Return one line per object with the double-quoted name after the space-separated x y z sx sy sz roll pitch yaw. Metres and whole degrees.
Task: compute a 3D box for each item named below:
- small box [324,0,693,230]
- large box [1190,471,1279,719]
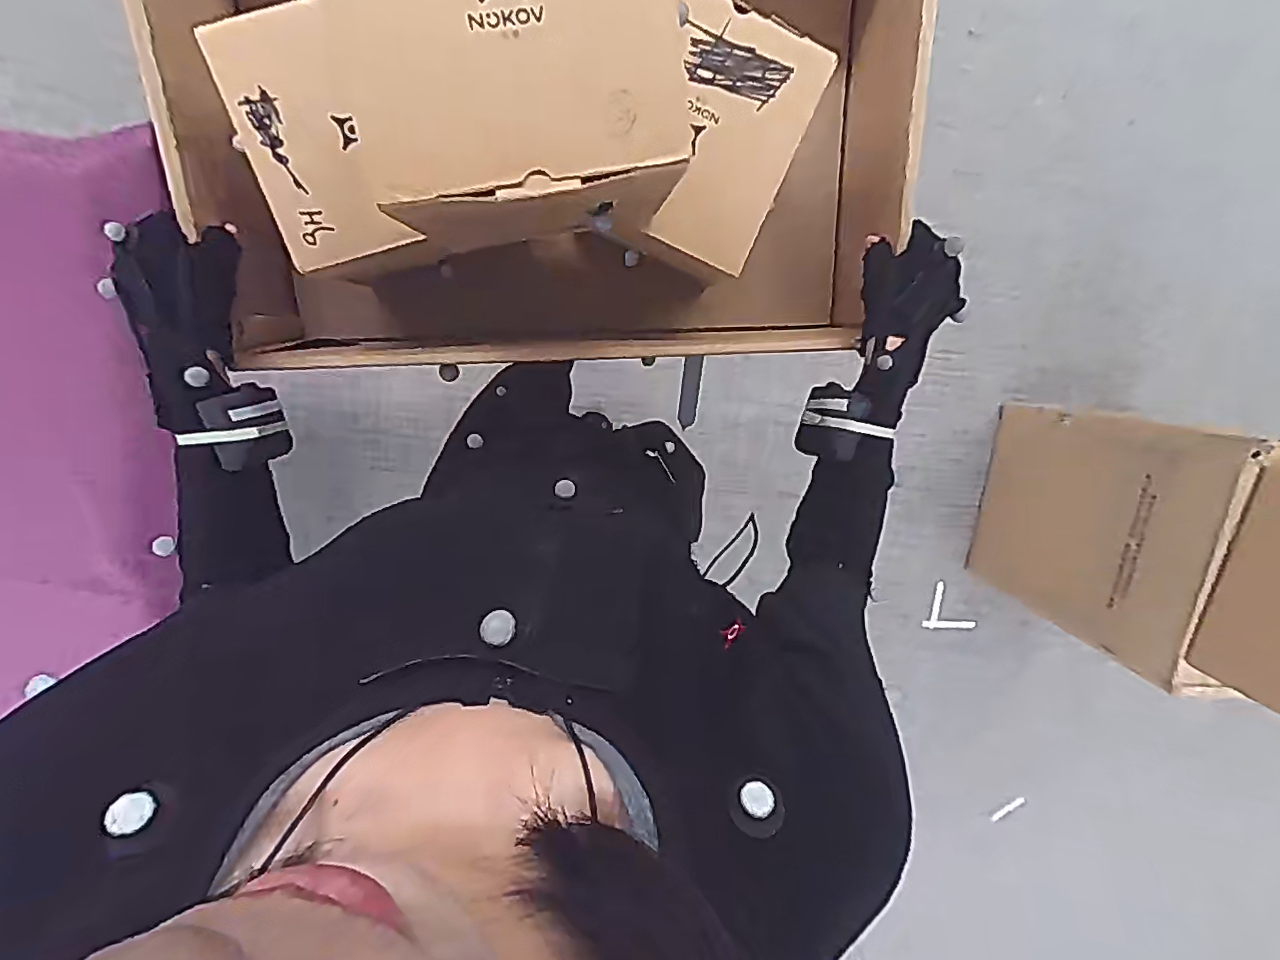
-0.071 -0.258 0.321 0.168 0.176 0.179 -10 106 -4 "small box"
1.230 0.220 0.863 0.320 0.320 0.408 6 104 -4 "large box"
